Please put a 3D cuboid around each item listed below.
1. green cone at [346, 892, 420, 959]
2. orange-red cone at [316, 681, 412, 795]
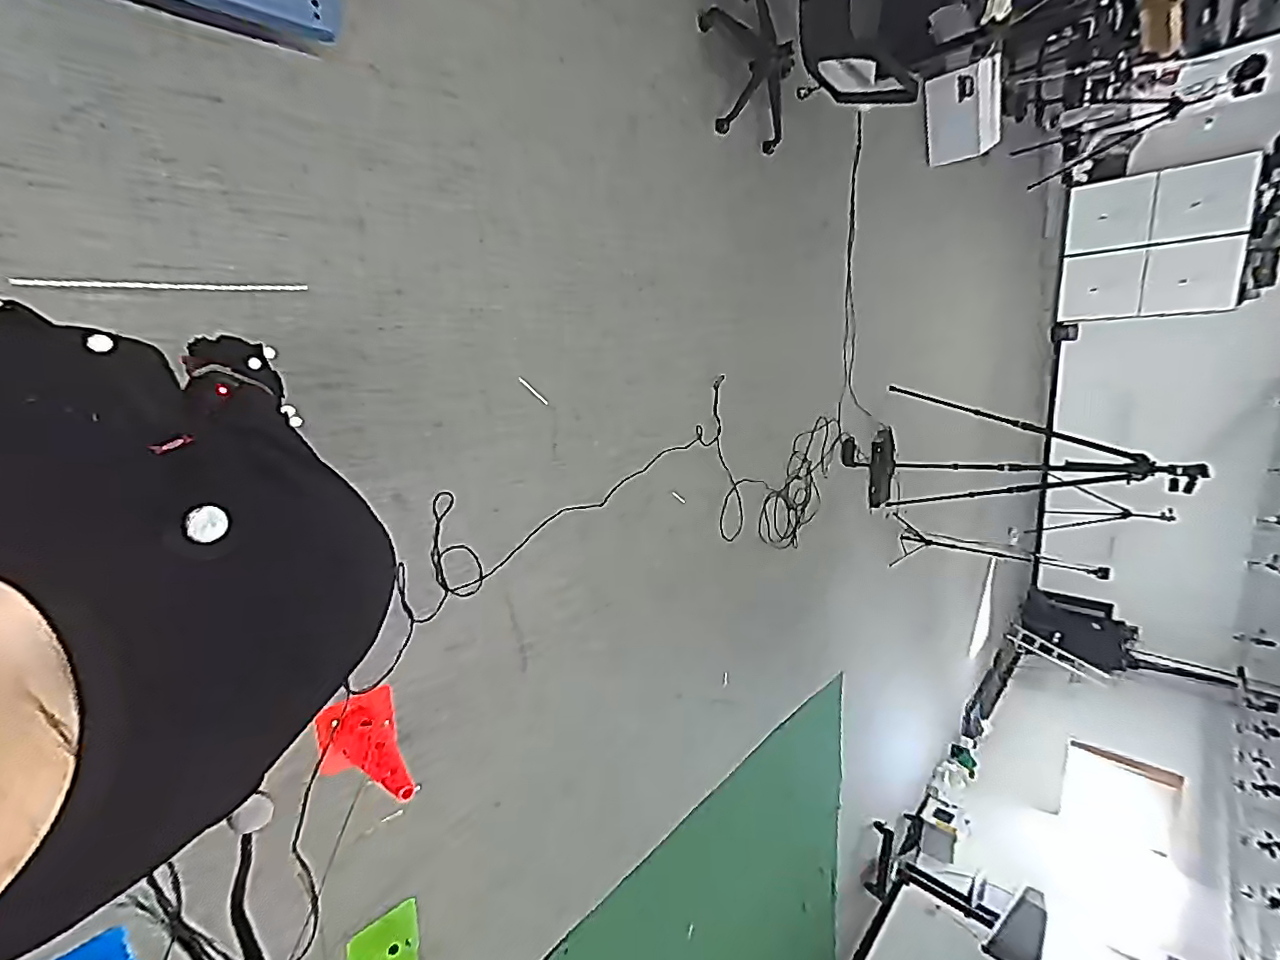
[{"bbox_3d":[-0.664,1.425,1.542,0.200,0.368,0.202,-14,106,-44],"label":"green cone"},{"bbox_3d":[-0.680,0.707,1.405,0.198,0.360,0.199,-10,106,-43],"label":"orange-red cone"}]
